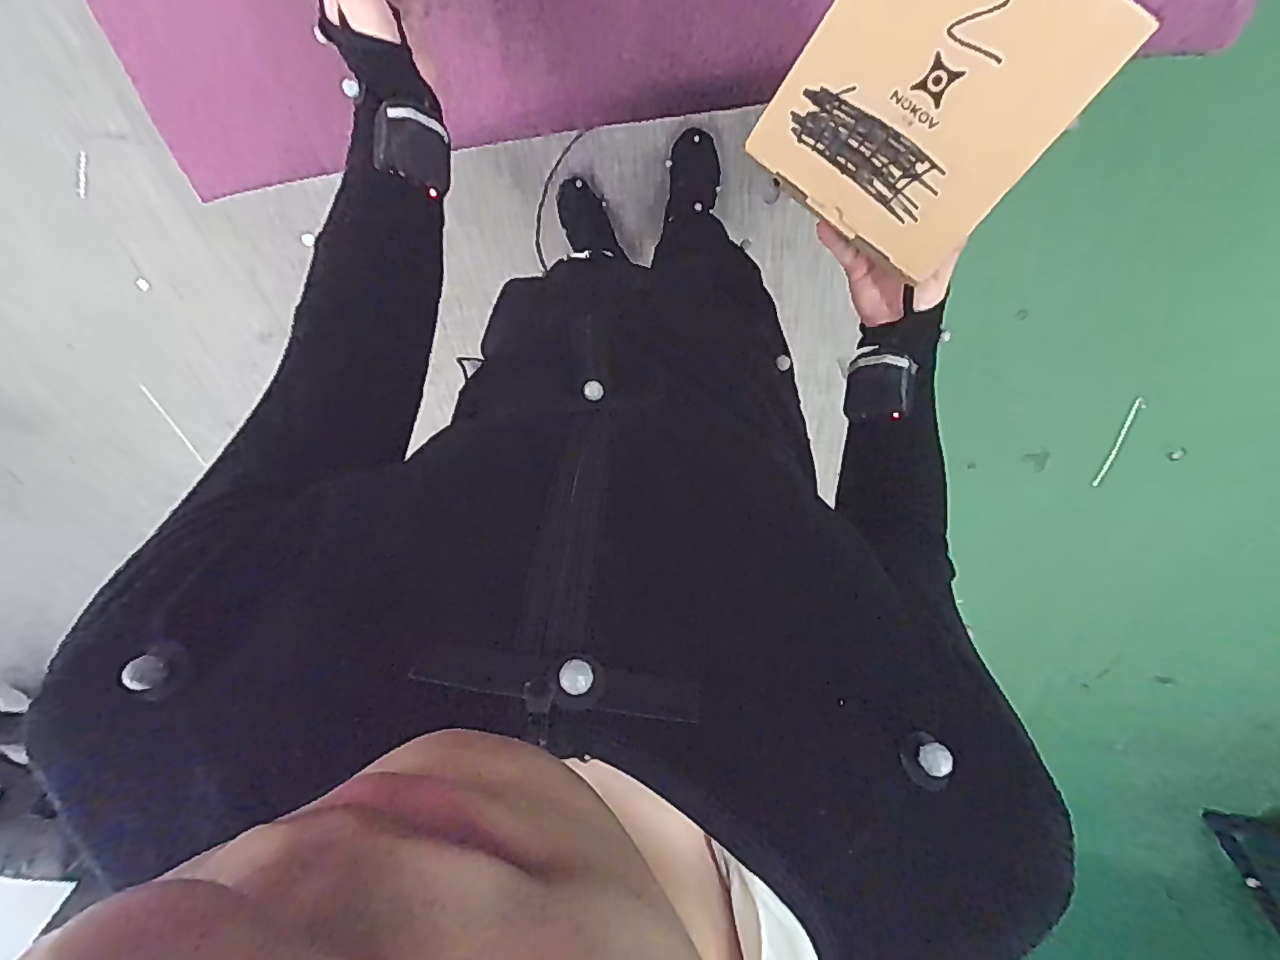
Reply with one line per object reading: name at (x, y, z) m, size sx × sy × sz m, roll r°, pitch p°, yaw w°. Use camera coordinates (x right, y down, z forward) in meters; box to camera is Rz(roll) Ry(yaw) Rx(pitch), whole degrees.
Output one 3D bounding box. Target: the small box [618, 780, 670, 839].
small box at (0.019, 1.247, 2.009) m, size 0.168 × 0.176 × 0.179 m, roll 0°, pitch 125°, yaw 9°
